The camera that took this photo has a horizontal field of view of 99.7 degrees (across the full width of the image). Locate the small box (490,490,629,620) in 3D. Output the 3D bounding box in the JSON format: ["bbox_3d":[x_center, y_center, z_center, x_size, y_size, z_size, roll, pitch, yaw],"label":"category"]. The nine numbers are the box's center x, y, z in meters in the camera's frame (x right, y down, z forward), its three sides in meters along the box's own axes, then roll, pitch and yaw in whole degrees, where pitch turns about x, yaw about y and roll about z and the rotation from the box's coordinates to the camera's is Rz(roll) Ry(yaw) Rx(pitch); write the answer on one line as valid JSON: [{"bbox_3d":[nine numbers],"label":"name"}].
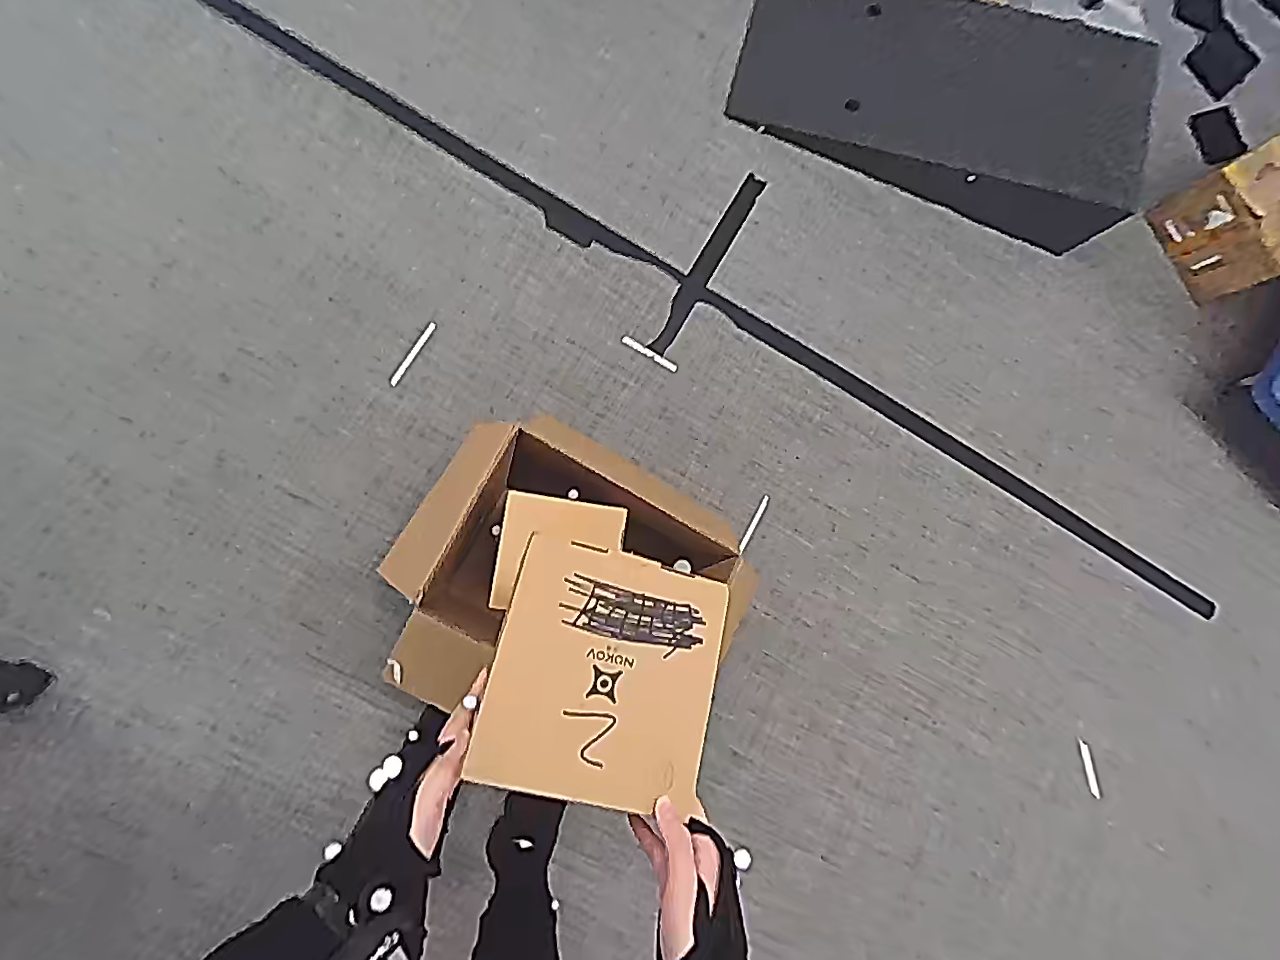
[{"bbox_3d":[-0.130,0.114,0.846,0.179,0.176,0.168,10,84,-13],"label":"small box"}]
